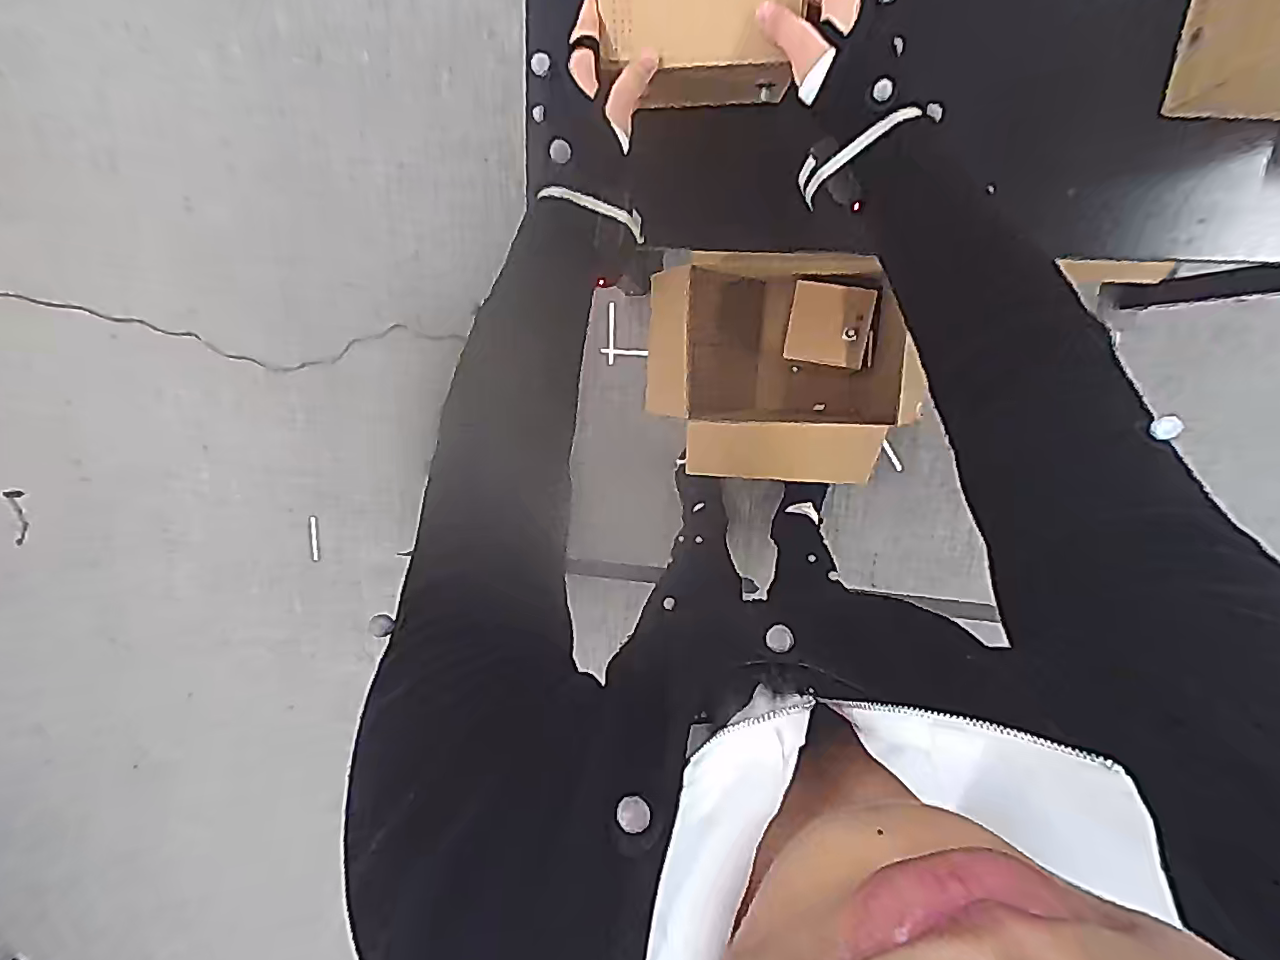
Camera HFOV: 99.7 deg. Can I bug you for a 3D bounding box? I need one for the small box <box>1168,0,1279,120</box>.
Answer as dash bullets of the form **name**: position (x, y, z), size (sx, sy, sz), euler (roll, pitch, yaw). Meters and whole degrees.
- **small box**: position (0.609, -0.422, 0.446), size (0.179, 0.176, 0.168), euler (5, 103, 5)
